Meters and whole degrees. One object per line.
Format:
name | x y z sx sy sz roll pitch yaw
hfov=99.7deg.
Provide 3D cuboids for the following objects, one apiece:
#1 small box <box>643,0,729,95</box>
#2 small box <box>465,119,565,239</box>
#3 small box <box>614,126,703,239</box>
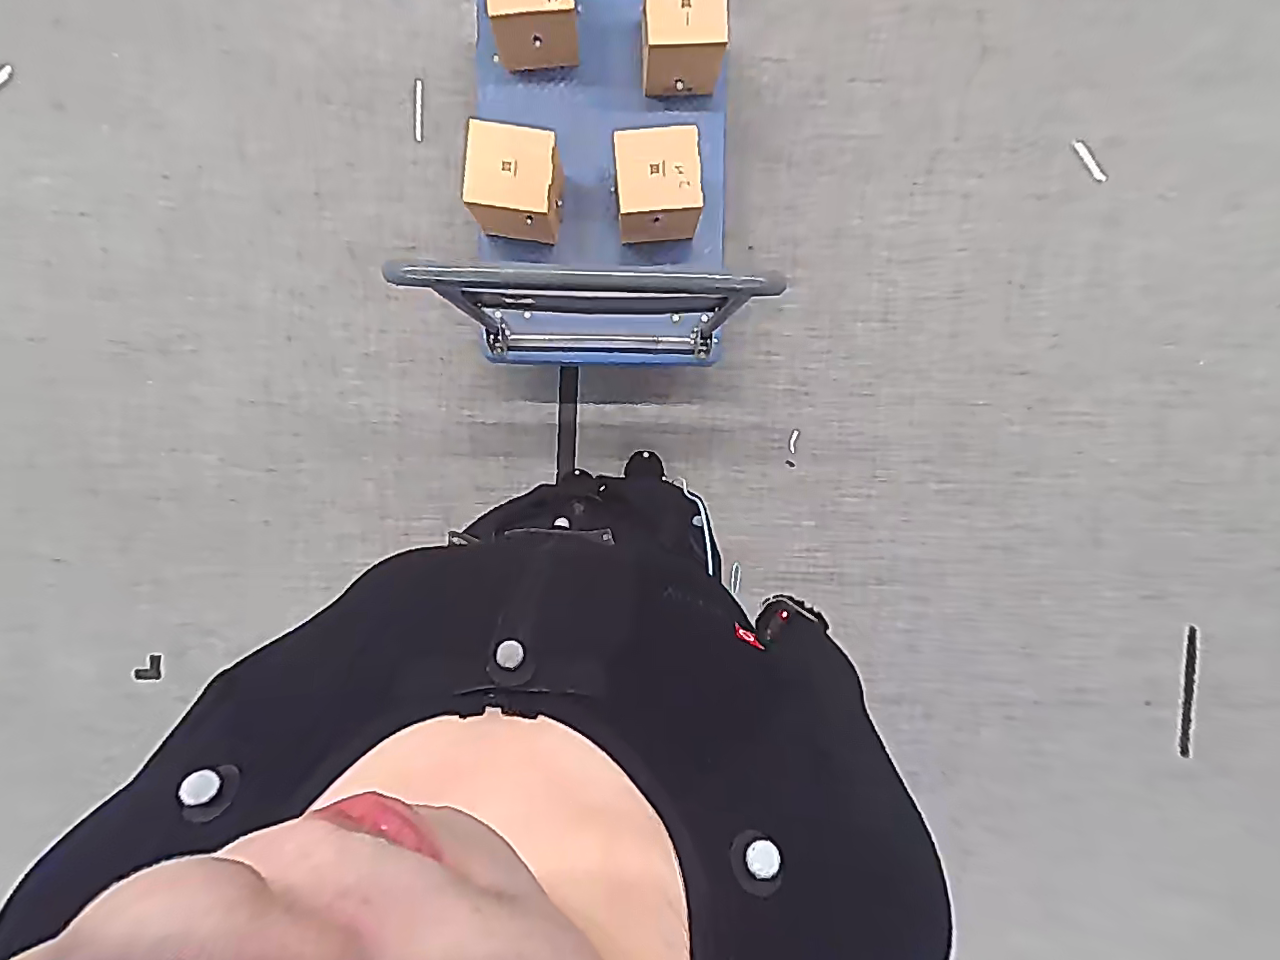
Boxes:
small box | 0.094 -0.979 1.172 0.168 0.176 0.179 -3 95 -2
small box | -0.267 -0.647 1.184 0.179 0.176 0.168 6 94 -4
small box | 0.039 -0.646 1.193 0.179 0.176 0.168 -5 94 -1
